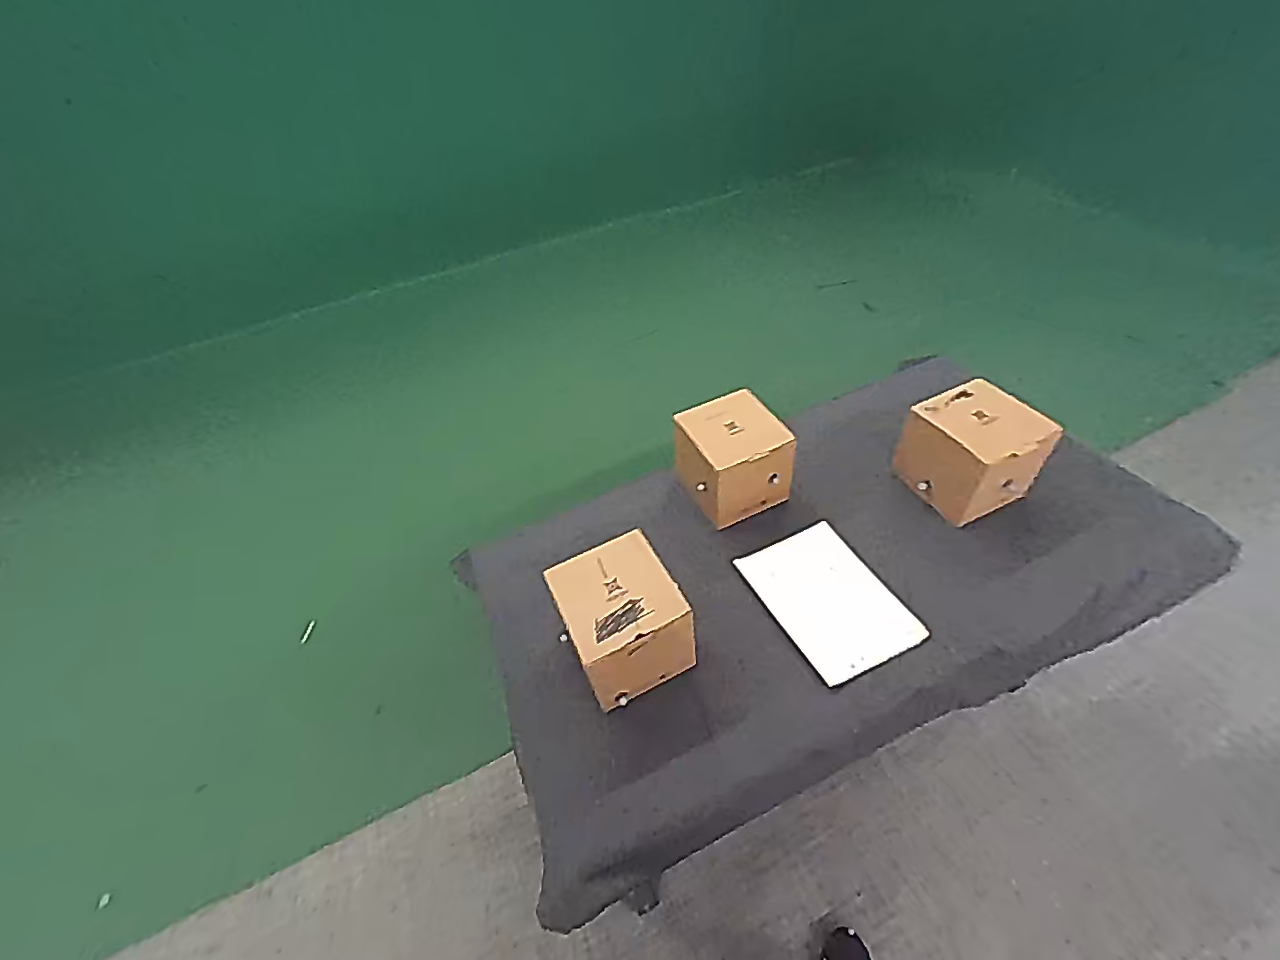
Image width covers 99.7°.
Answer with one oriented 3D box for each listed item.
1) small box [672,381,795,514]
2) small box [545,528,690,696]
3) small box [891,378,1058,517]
[{"bbox_3d":[0.176,-0.056,1.048,0.168,0.176,0.179,-22,48,-14],"label":"small box"},{"bbox_3d":[-0.030,0.214,0.849,0.168,0.176,0.179,-23,49,-14],"label":"small box"},{"bbox_3d":[0.606,-0.053,1.007,0.168,0.176,0.179,-22,50,-12],"label":"small box"}]
